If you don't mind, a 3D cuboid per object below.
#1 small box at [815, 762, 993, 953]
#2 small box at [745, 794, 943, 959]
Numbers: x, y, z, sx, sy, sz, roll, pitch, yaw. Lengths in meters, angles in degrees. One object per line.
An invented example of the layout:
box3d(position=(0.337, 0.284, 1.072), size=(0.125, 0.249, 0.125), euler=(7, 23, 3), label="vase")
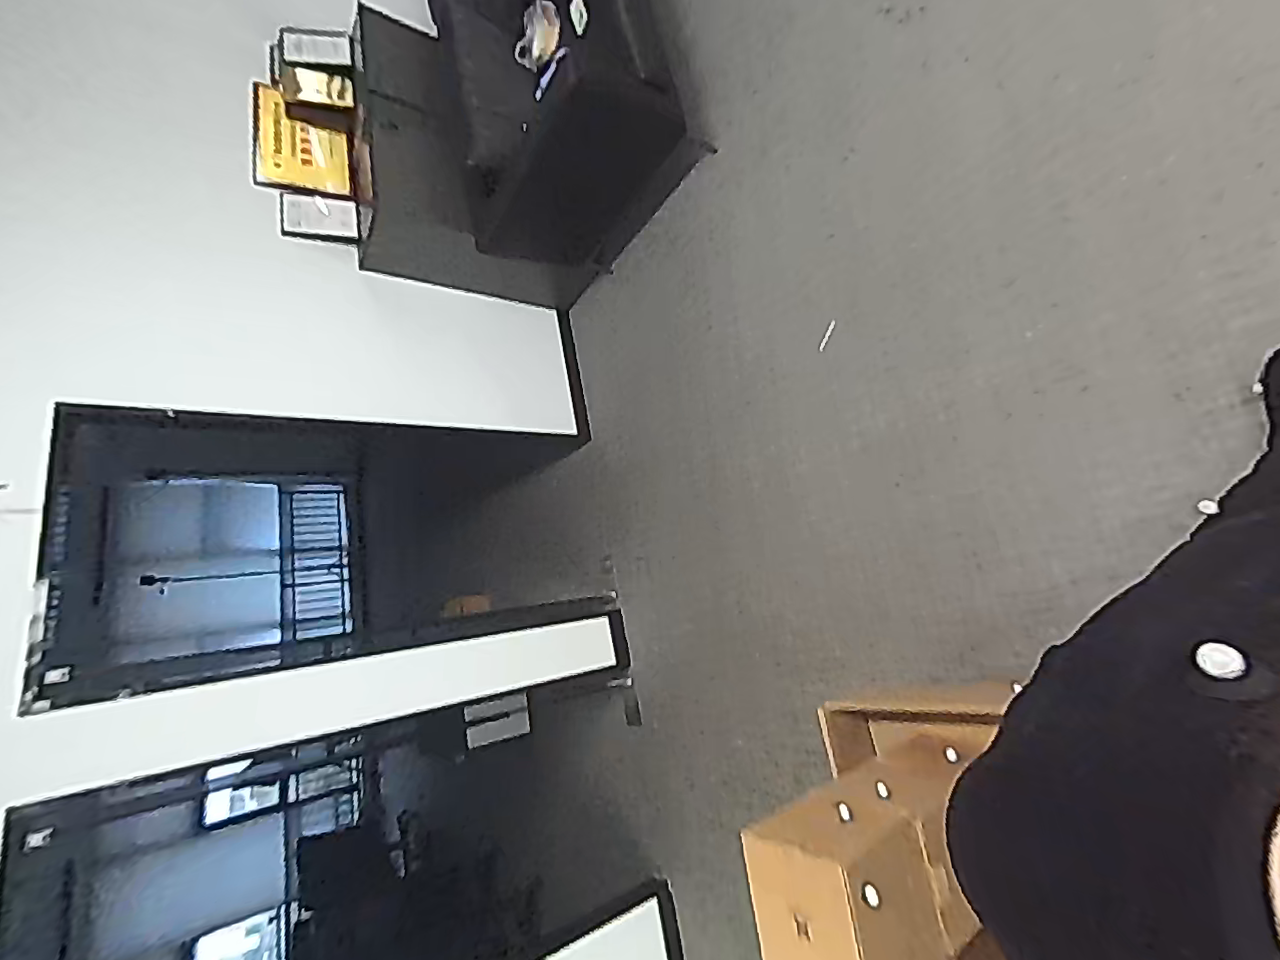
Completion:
box3d(position=(0.400, 0.548, 0.818), size=(0.179, 0.176, 0.168), euler=(-24, 71, 51), label="small box")
box3d(position=(0.270, 0.552, 0.720), size=(0.168, 0.176, 0.179), euler=(-25, 69, 50), label="small box")
